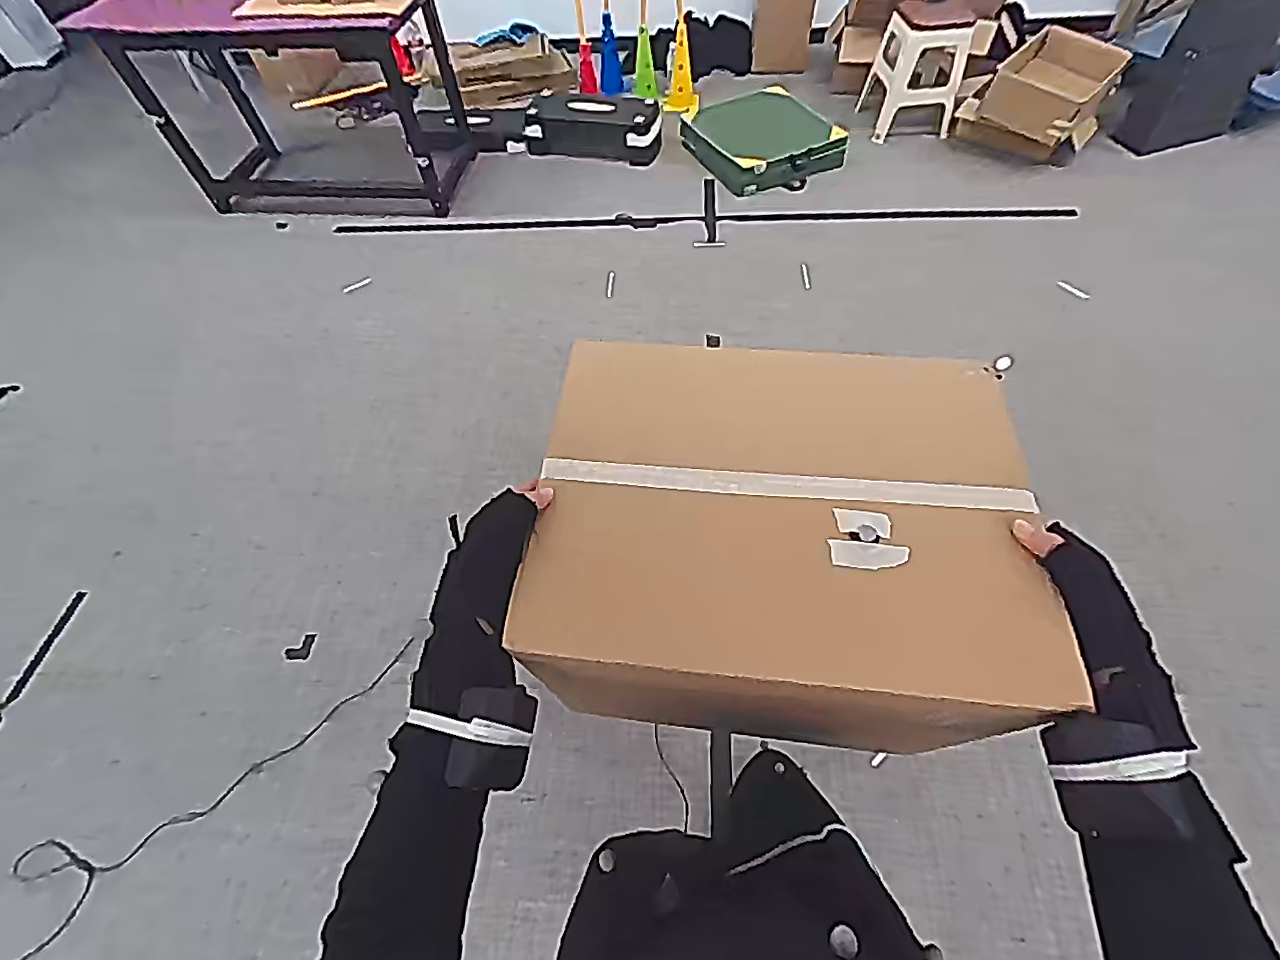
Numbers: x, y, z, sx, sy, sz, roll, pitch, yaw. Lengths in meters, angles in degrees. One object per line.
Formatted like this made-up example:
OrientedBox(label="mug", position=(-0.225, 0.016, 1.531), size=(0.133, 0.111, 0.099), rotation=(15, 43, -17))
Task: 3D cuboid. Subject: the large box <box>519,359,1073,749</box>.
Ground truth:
OrientedBox(label="large box", position=(0.124, 0.093, 0.591), size=(0.408, 0.320, 0.320), rotation=(4, 60, 6))
